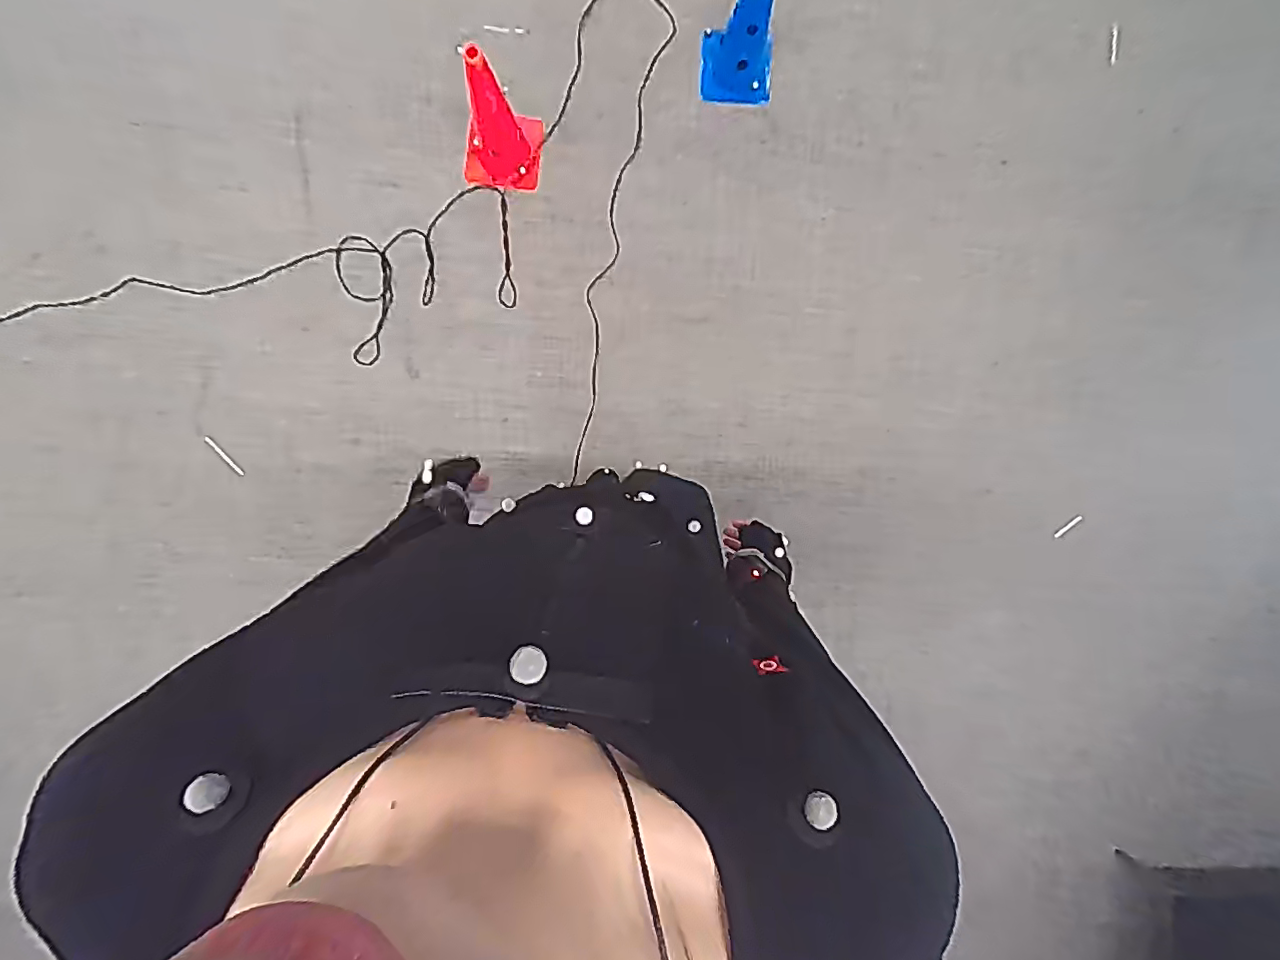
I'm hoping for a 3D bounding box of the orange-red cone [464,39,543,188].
[{"bbox_3d":[-0.360,-0.906,1.303,0.198,0.360,0.199,7,89,-4],"label":"orange-red cone"}]
